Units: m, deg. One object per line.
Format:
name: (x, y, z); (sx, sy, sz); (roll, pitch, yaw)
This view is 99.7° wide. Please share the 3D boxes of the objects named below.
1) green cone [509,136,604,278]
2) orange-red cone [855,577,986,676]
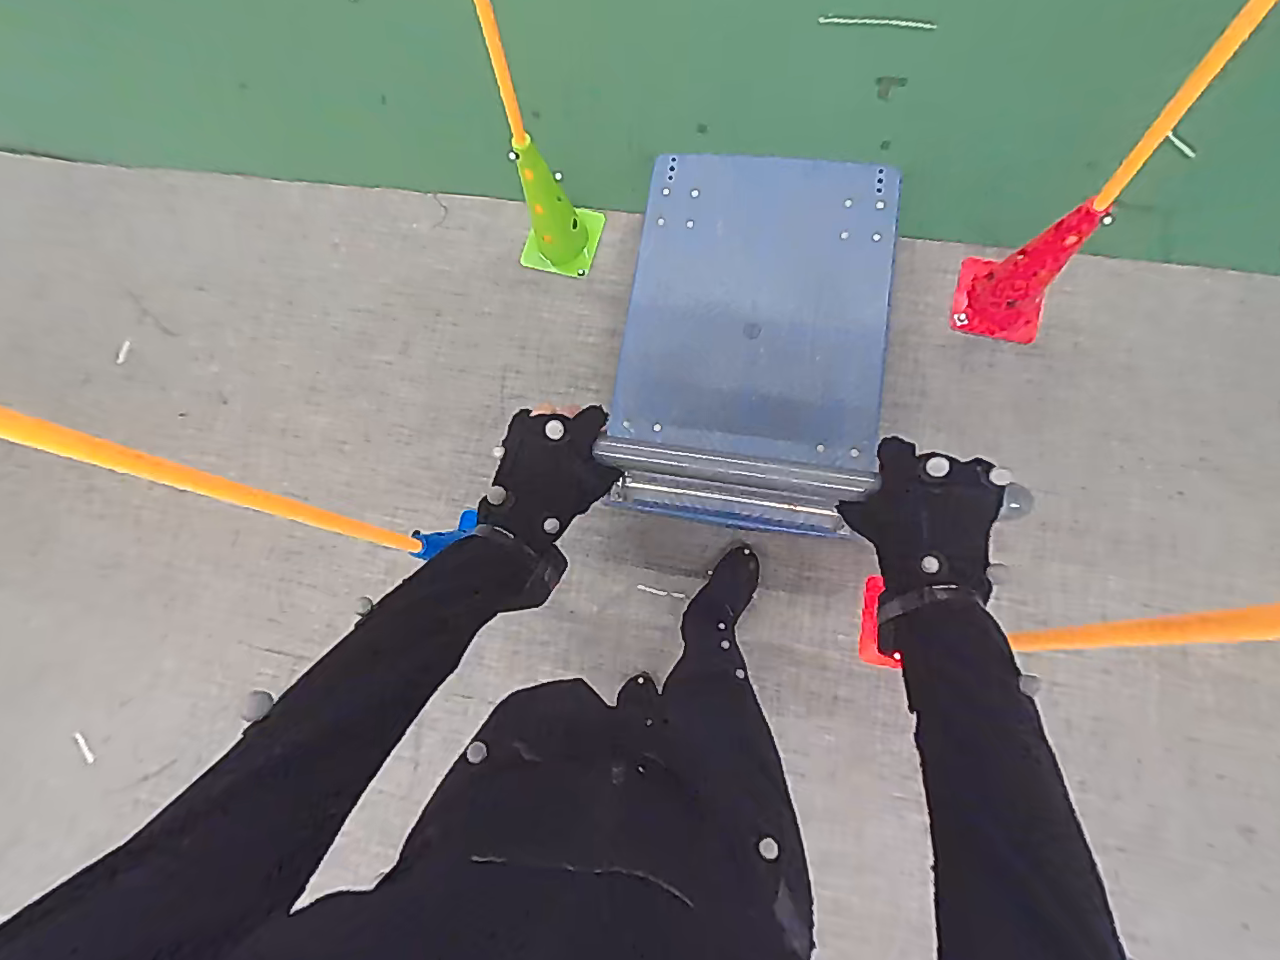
green cone: (-0.236, -0.698, 1.342); (0.202, 0.368, 0.200); (14, 81, 10)
orange-red cone: (0.581, 0.303, 1.074); (0.199, 0.360, 0.198); (9, 81, 10)
